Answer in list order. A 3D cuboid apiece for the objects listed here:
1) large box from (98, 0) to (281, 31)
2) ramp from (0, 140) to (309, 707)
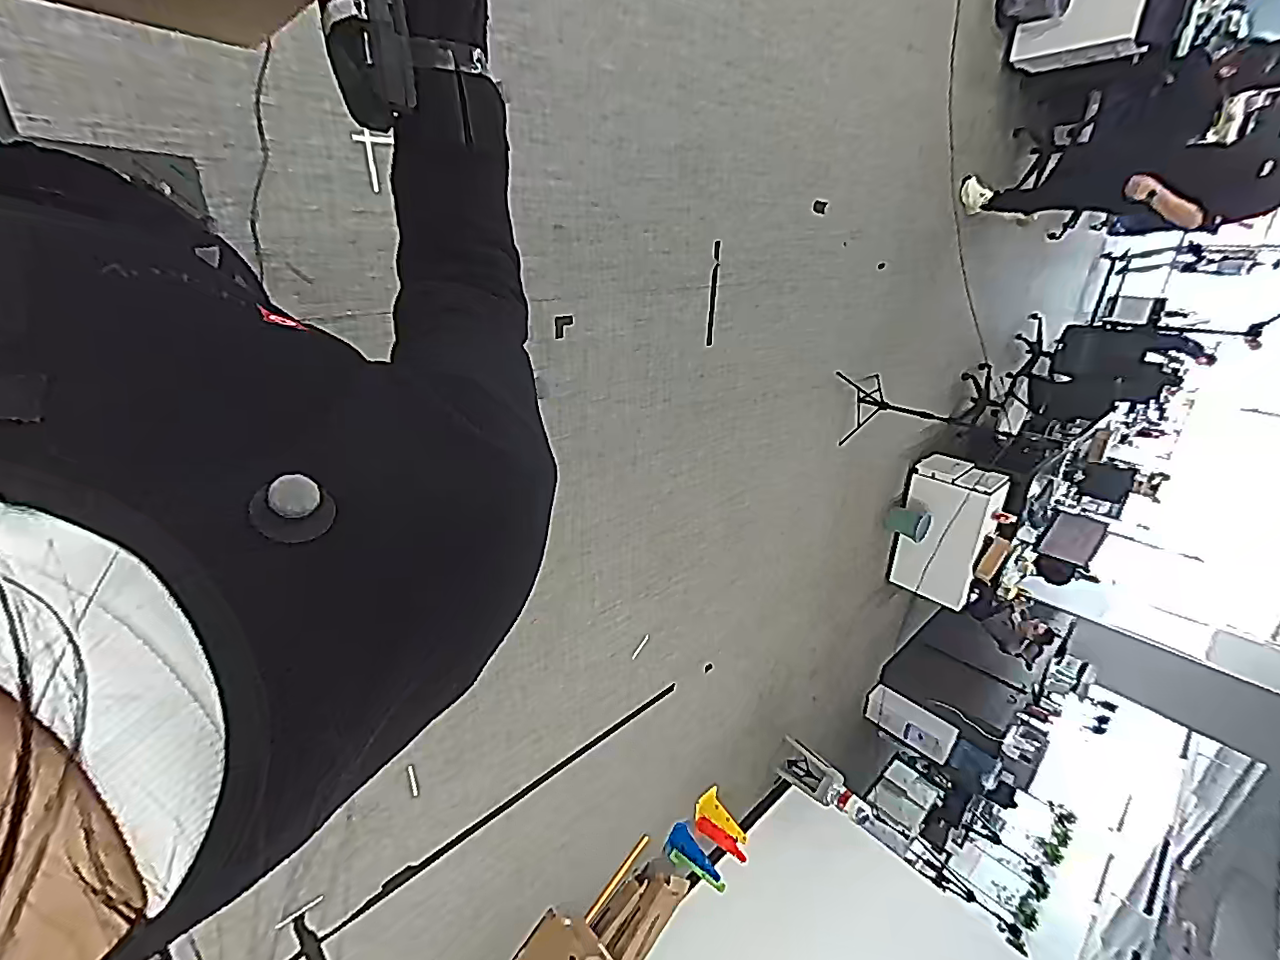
[{"bbox_3d":[-0.389,-0.432,0.201,0.408,0.320,0.320,-17,125,-39],"label":"large box"},{"bbox_3d":[-1.035,-0.101,1.051,0.509,0.206,0.991,-18,119,-37],"label":"ramp"}]
